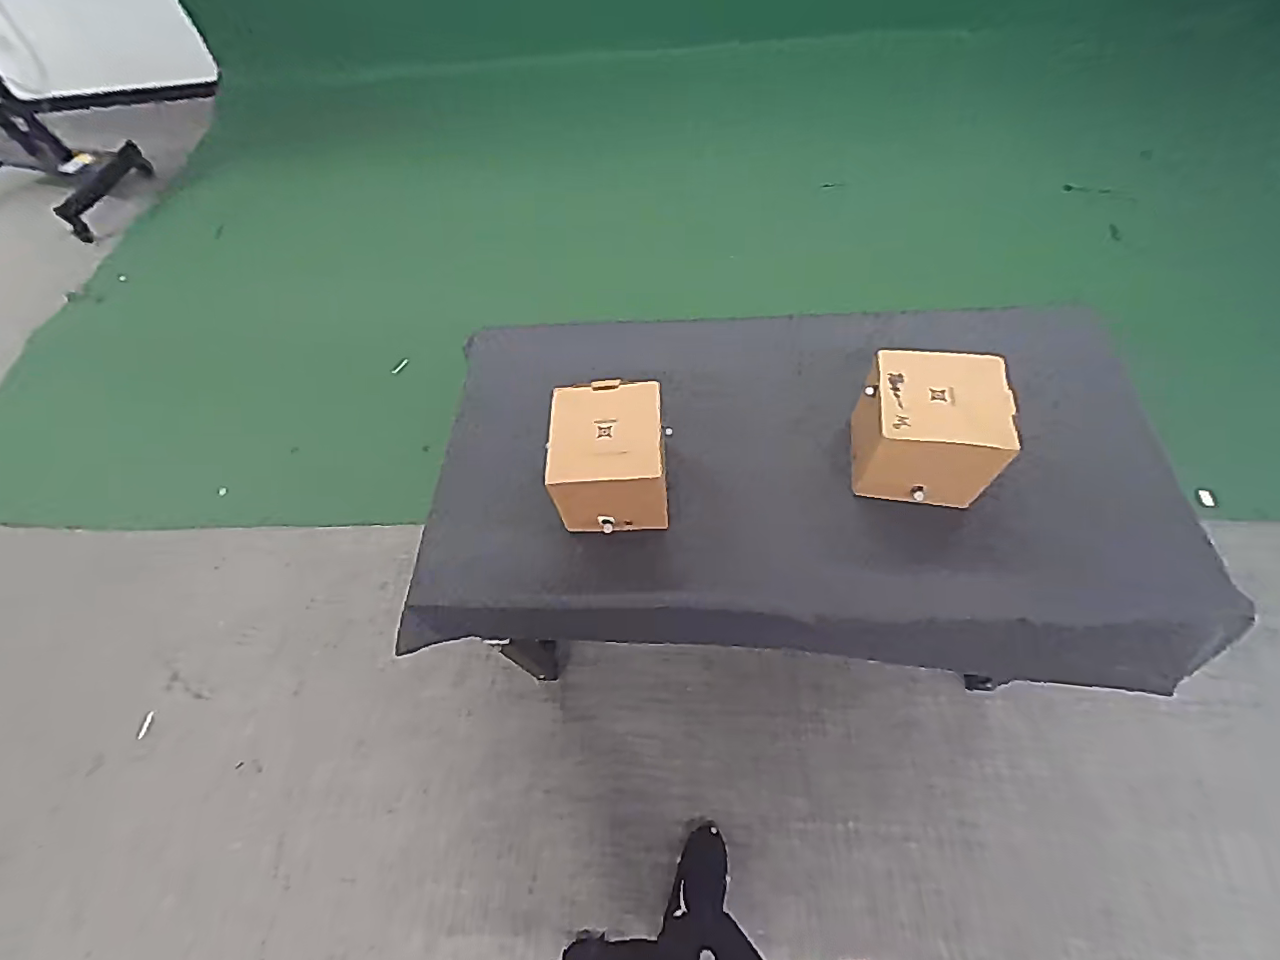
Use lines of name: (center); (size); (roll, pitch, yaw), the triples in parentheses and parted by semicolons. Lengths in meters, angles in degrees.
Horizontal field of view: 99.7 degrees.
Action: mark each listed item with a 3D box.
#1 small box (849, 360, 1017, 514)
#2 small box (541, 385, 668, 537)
small box: (0.437, -0.061, 0.836); (0.179, 0.176, 0.168); (7, 60, 9)
small box: (-0.045, -0.025, 0.845); (0.168, 0.176, 0.179); (-2, 59, 7)
